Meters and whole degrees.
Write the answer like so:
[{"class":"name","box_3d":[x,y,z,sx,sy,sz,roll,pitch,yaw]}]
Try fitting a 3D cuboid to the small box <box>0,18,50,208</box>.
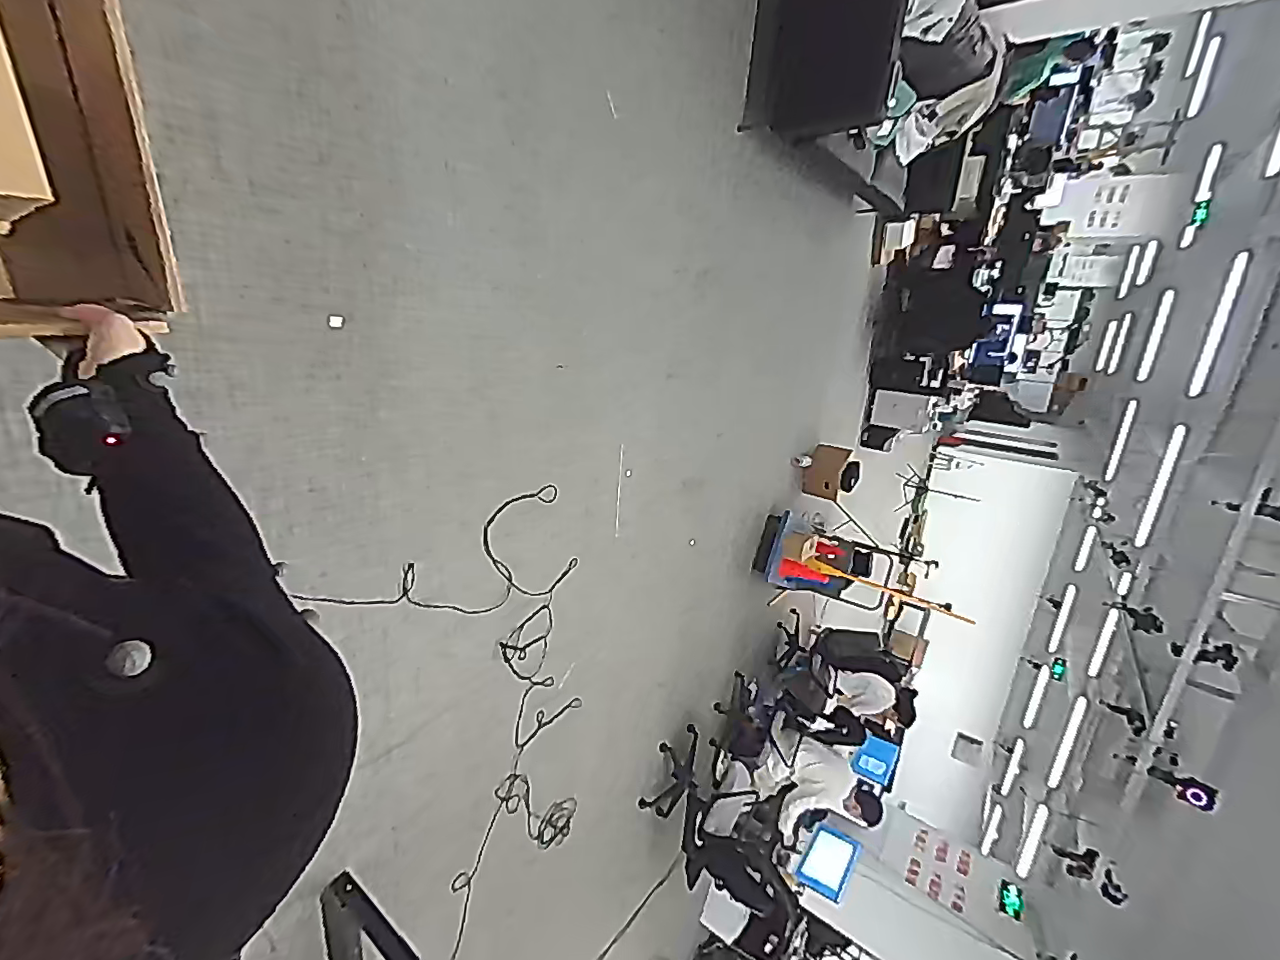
[{"class":"small box","box_3d":[-0.479,-0.244,0.289,0.179,0.176,0.168,-25,121,-51]}]
